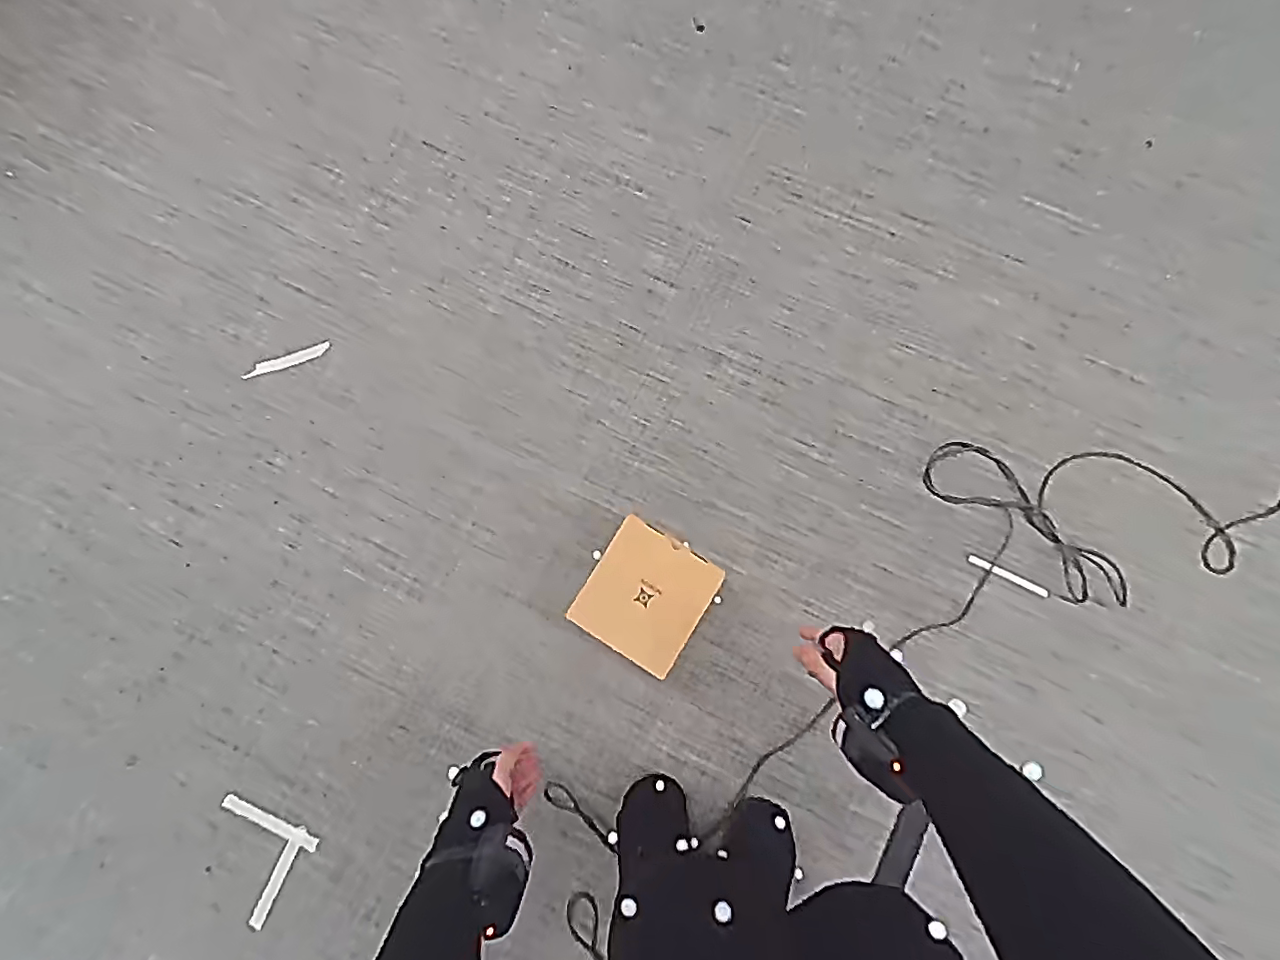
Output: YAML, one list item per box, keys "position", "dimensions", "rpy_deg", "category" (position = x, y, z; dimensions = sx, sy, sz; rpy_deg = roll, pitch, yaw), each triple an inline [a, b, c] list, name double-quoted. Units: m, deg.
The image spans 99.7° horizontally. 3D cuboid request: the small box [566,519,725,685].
- position: [0.013, 0.181, 0.835]
  dimensions: [0.168, 0.176, 0.179]
  rpy_deg: [31, 83, 7]
  category: "small box"
